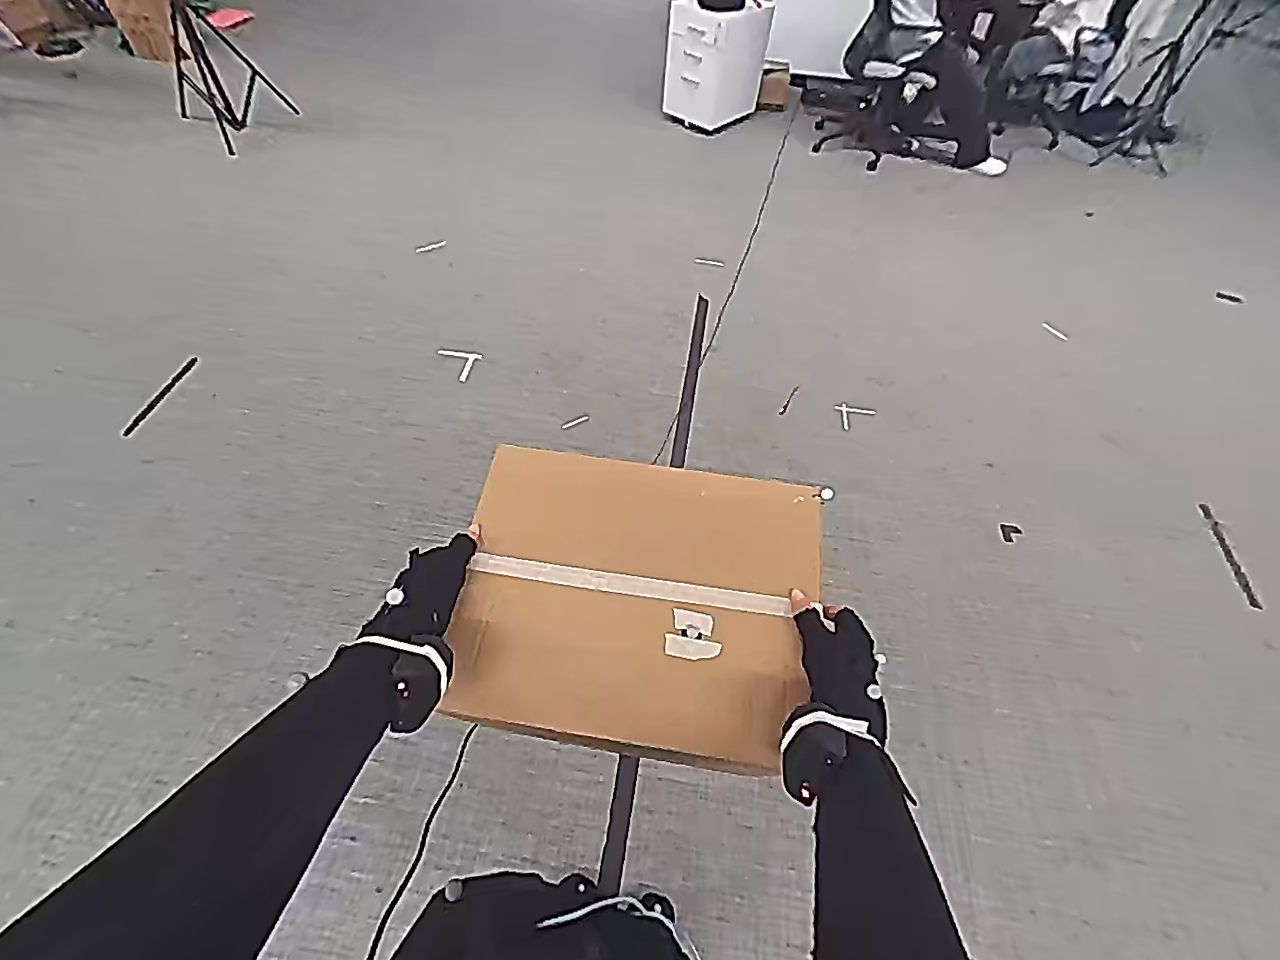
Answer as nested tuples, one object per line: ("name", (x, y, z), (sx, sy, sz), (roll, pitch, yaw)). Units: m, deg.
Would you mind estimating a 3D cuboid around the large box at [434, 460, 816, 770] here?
("large box", (-0.004, 0.201, 0.750), (0.408, 0.320, 0.320), (8, 62, 3))
